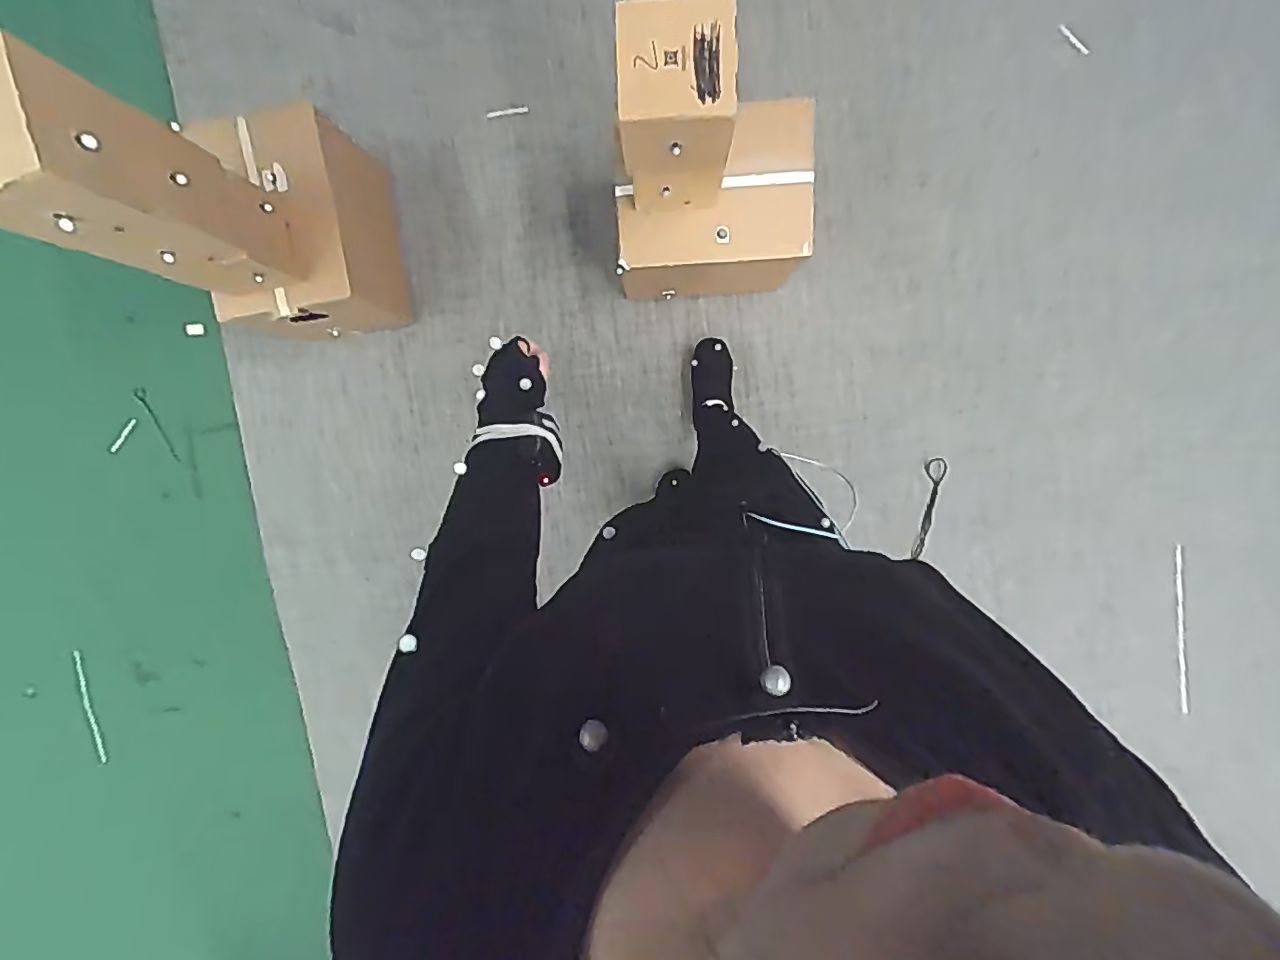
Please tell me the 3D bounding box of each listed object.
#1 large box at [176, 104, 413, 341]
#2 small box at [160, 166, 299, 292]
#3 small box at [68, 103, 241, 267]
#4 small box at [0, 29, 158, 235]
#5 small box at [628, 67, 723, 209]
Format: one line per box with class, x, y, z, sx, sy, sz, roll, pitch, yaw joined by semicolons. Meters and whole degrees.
large box;-0.796;-0.583;1.302;0.320;0.320;0.408;-8;95;3
small box;-0.812;-0.485;1.068;0.179;0.176;0.168;-9;95;4
small box;-0.819;-0.474;0.905;0.168;0.176;0.179;-14;94;3
small box;-0.824;-0.456;0.741;0.168;0.176;0.179;-12;96;3
small box;0.066;-0.630;1.020;0.168;0.176;0.179;-2;94;2
